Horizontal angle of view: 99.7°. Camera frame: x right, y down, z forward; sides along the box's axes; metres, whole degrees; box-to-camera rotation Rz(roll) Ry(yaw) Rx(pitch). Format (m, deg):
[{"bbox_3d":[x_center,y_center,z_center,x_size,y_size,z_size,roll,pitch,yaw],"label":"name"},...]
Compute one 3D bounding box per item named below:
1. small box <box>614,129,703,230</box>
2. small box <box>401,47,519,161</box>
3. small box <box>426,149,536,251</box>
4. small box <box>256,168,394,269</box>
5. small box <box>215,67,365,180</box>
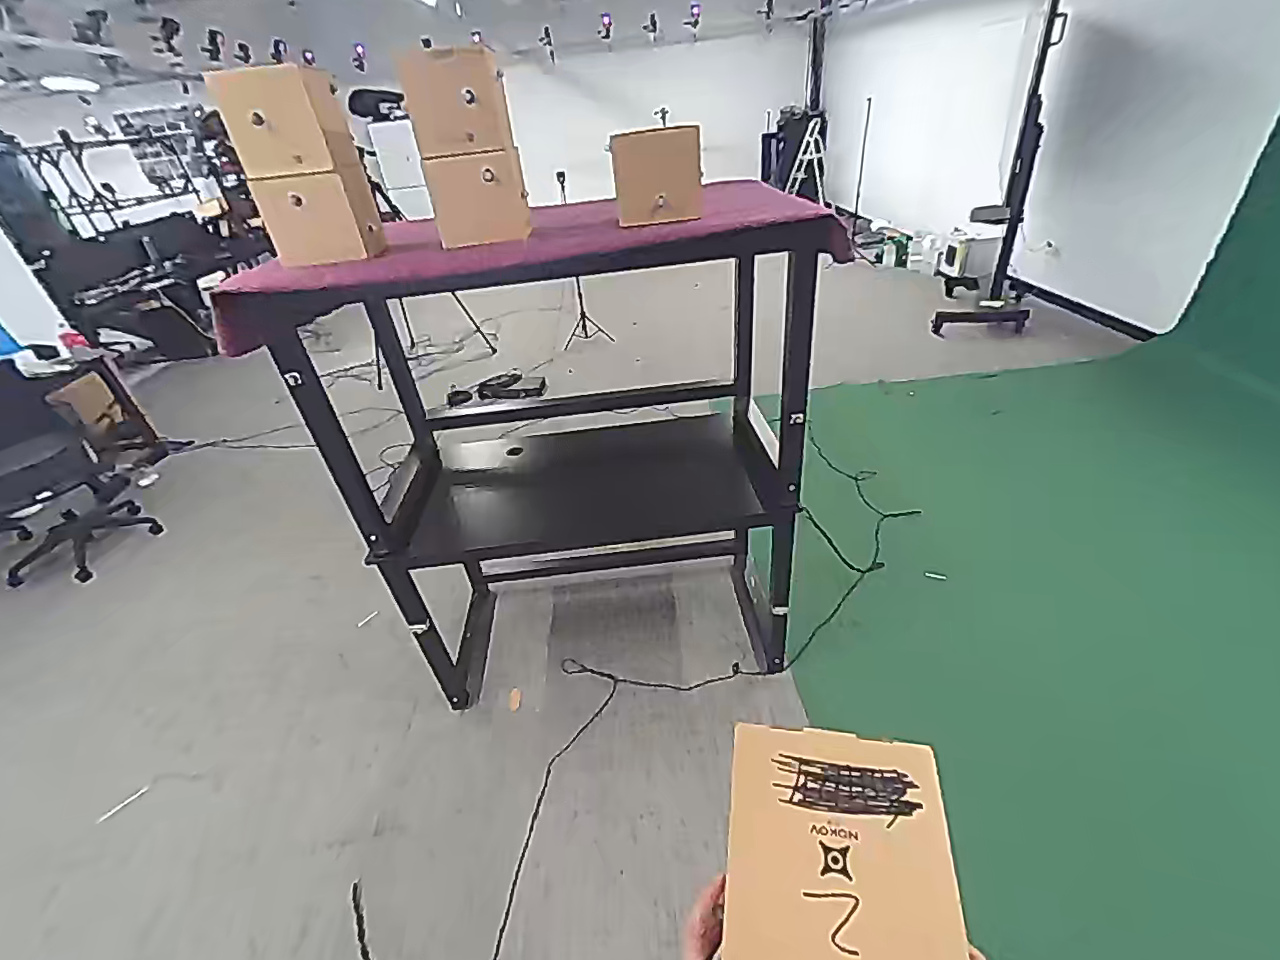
[{"bbox_3d":[0.040,-0.646,1.161,0.179,0.176,0.168,-6,32,0],"label":"small box"},{"bbox_3d":[-0.348,-0.744,1.083,0.168,0.176,0.179,-6,33,0],"label":"small box"},{"bbox_3d":[-0.330,-0.605,1.166,0.179,0.176,0.168,-7,33,1],"label":"small box"},{"bbox_3d":[-0.659,-0.559,1.157,0.179,0.176,0.168,-7,34,-3],"label":"small box"},{"bbox_3d":[-0.675,-0.696,1.071,0.168,0.176,0.179,-9,33,-3],"label":"small box"}]
